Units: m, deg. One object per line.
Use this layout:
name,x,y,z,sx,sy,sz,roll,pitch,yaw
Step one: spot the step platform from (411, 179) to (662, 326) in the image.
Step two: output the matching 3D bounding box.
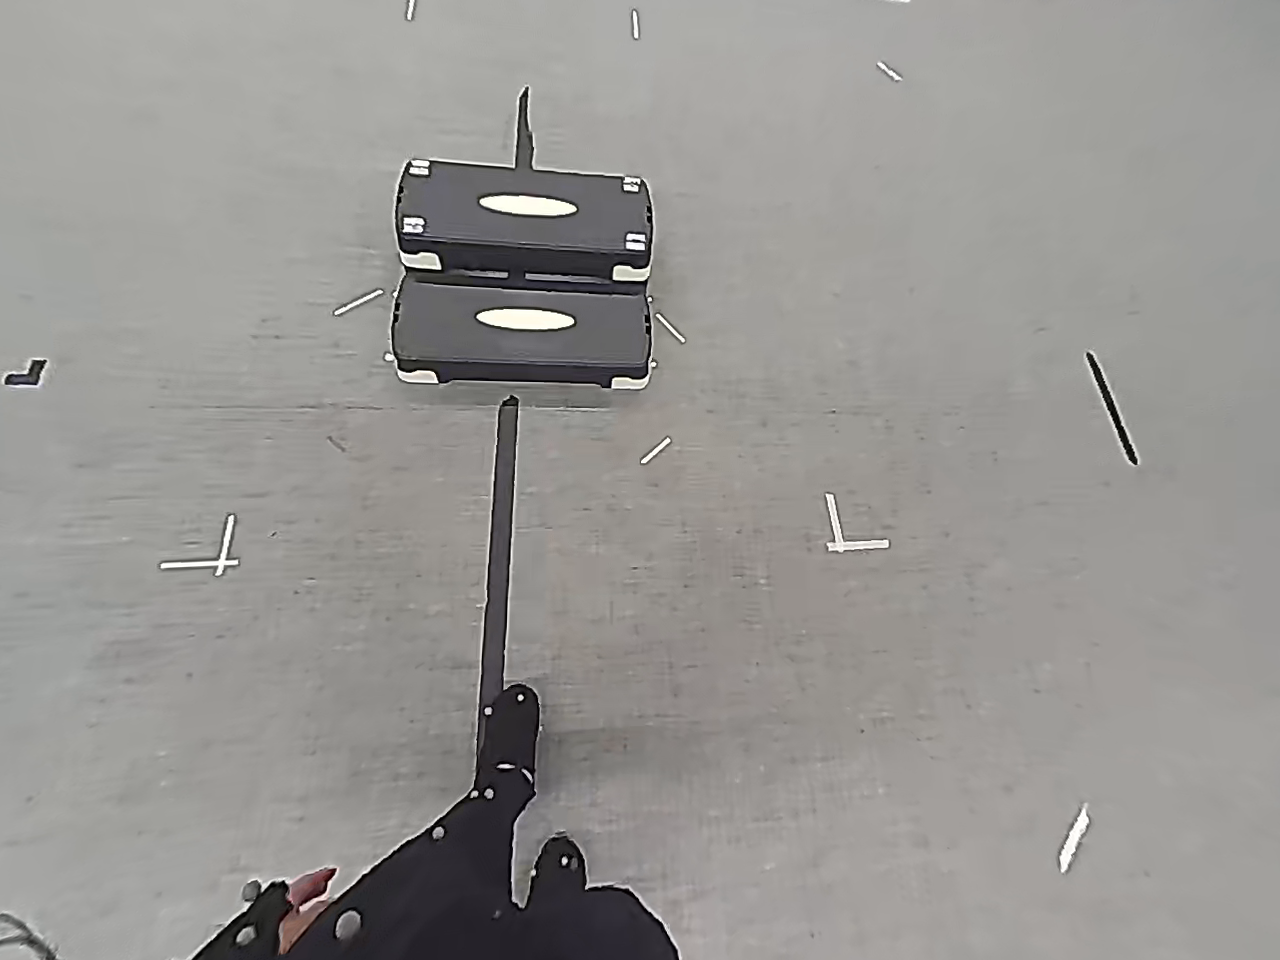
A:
step platform,-0.279,-0.640,1.536,0.684,0.204,0.286,5,67,-7
